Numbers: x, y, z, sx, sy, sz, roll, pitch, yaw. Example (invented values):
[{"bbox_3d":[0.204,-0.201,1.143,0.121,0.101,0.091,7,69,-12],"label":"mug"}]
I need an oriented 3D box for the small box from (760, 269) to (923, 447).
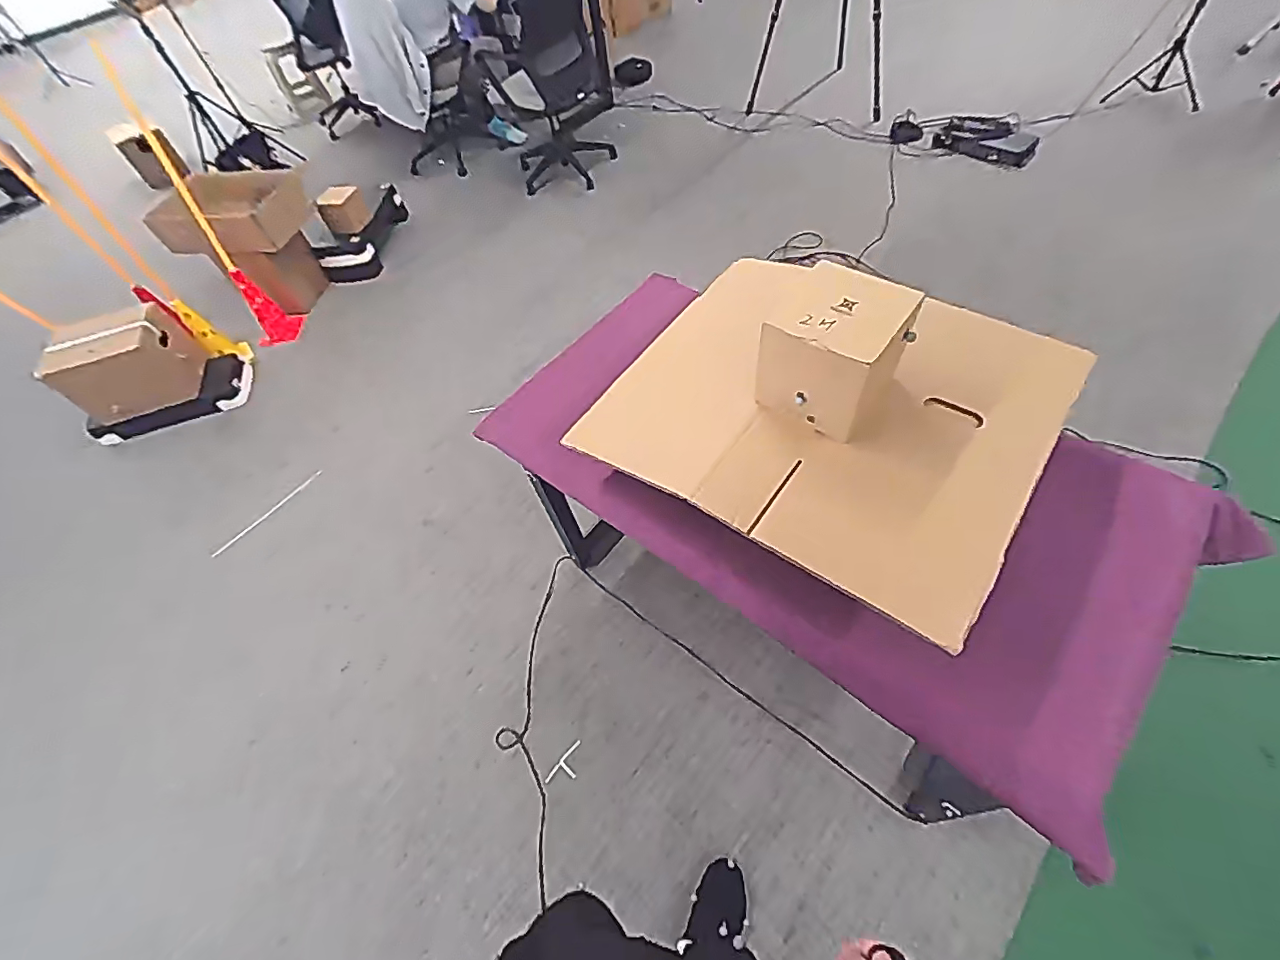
[{"bbox_3d":[0.299,-0.187,0.840,0.168,0.176,0.179,31,65,25],"label":"small box"}]
